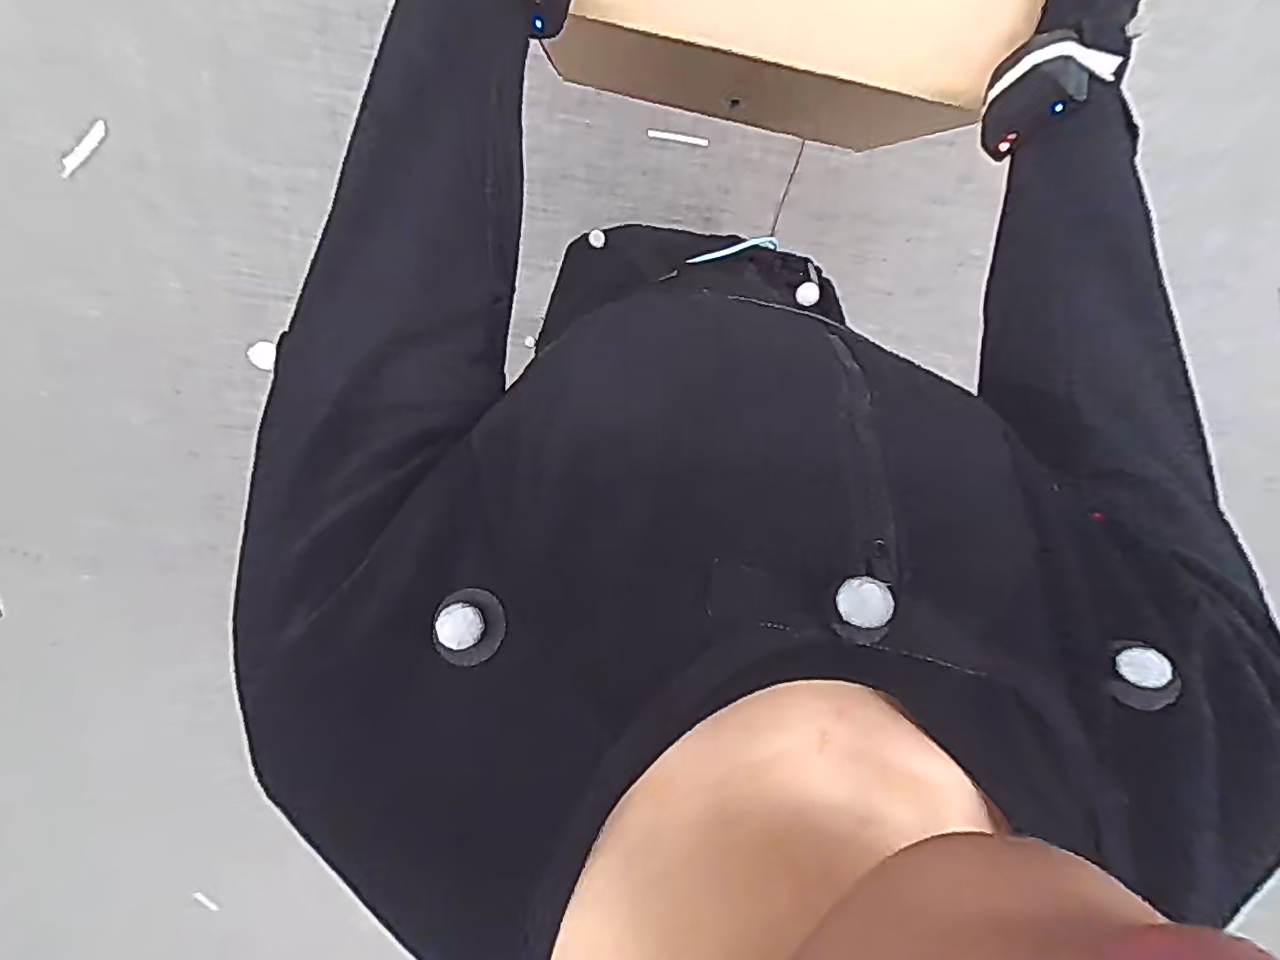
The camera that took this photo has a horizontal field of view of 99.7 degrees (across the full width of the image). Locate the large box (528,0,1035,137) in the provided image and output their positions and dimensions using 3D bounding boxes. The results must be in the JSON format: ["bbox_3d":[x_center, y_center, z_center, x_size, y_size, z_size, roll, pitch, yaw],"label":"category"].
[{"bbox_3d":[0.130,-0.546,0.500,0.408,0.320,0.320,10,115,-5],"label":"large box"}]
